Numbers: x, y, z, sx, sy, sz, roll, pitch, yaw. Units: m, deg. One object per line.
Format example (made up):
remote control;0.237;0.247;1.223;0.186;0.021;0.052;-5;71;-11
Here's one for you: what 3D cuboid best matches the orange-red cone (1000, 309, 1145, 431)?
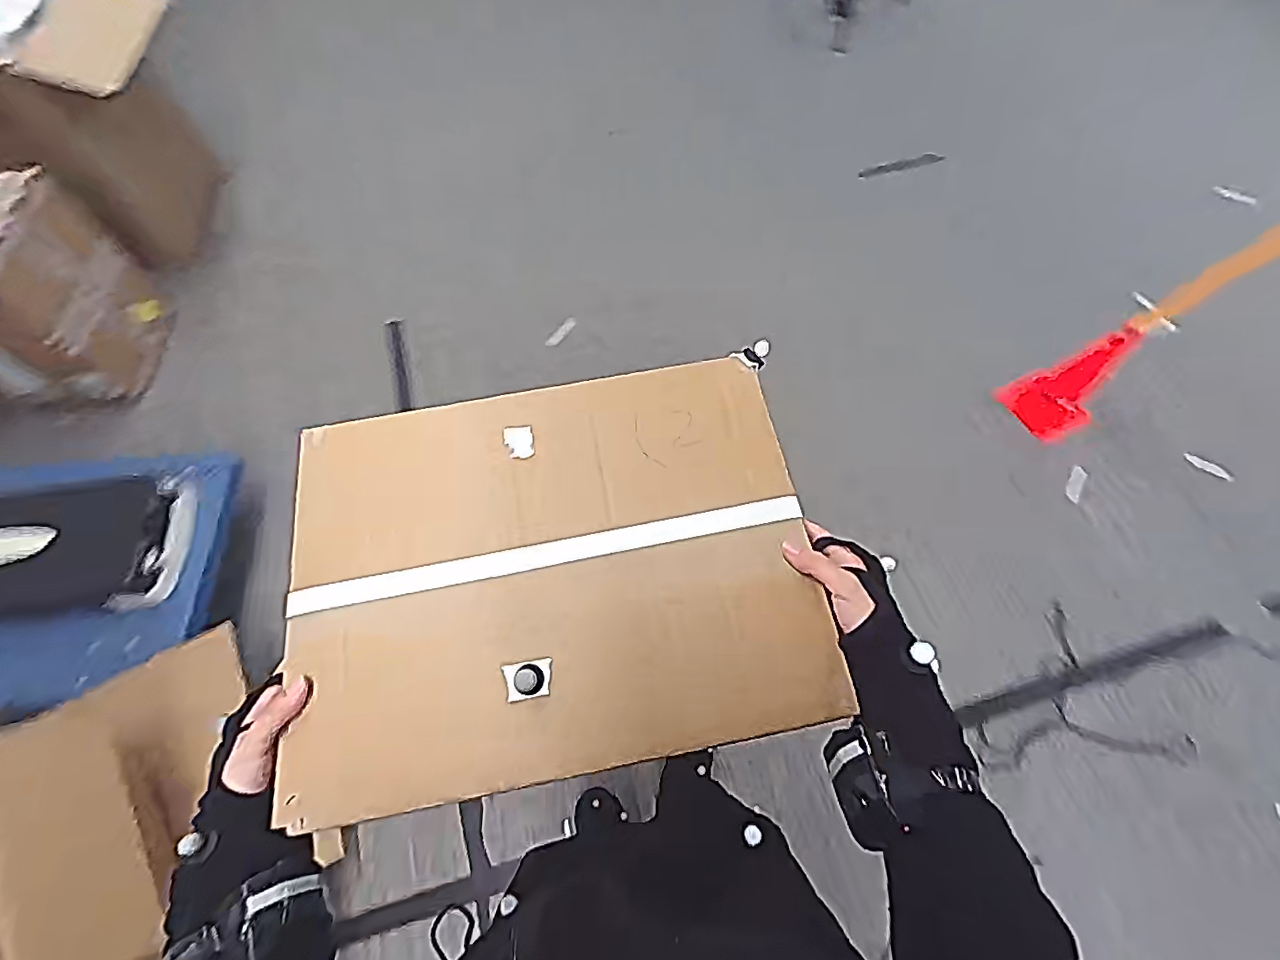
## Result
orange-red cone;1.207;-0.325;1.469;0.198;0.360;0.199;-24;66;-11
